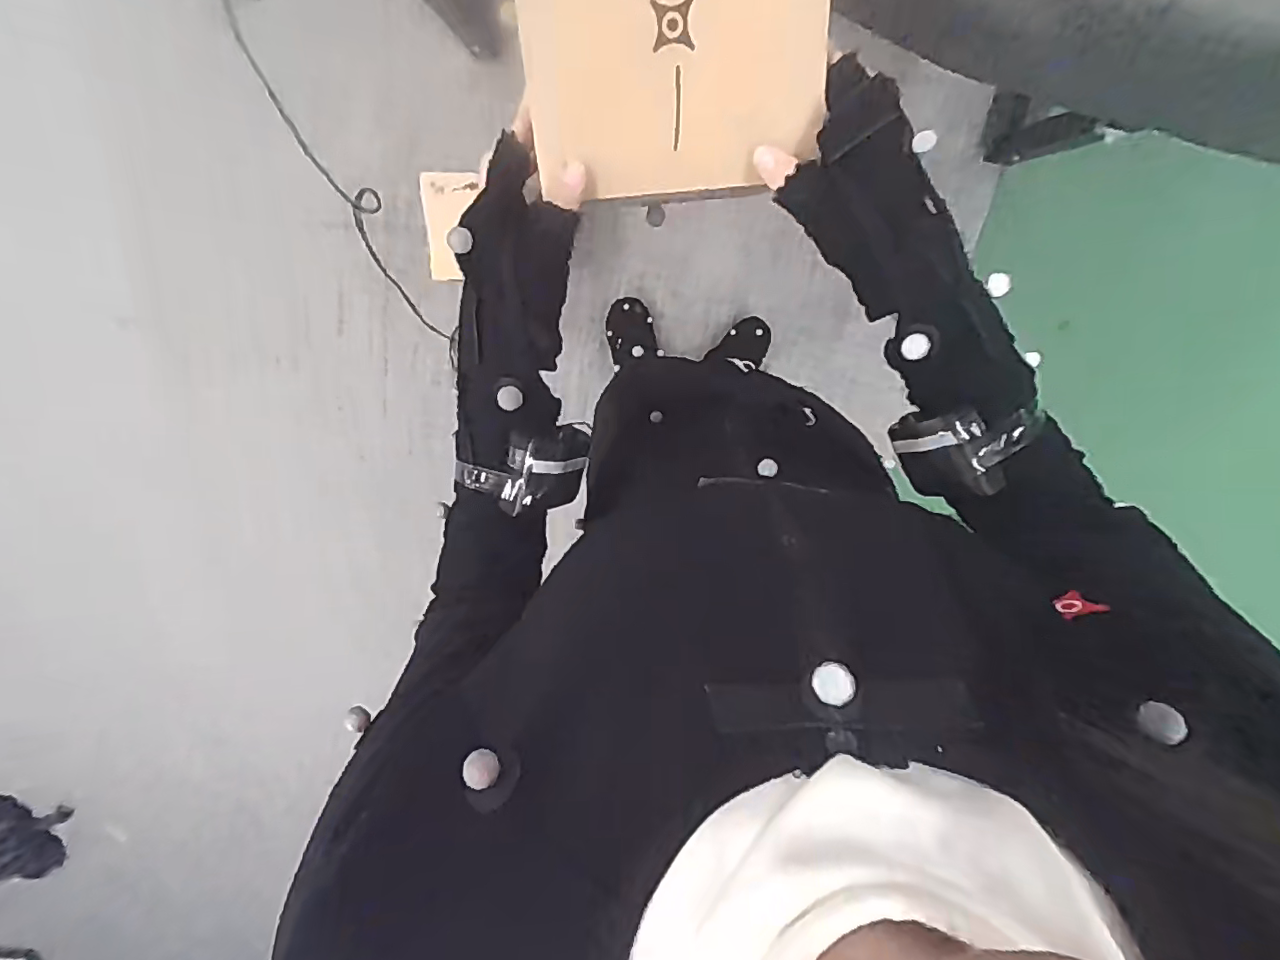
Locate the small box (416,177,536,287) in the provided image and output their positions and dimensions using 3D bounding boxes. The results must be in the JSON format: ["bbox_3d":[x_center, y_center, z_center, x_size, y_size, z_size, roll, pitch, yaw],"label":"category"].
[{"bbox_3d":[-0.299,-0.466,1.027,0.168,0.176,0.179,-1,111,2],"label":"small box"}]

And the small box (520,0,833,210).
[{"bbox_3d":[0.014,-0.278,0.351,0.168,0.176,0.179,-4,116,-2],"label":"small box"}]
